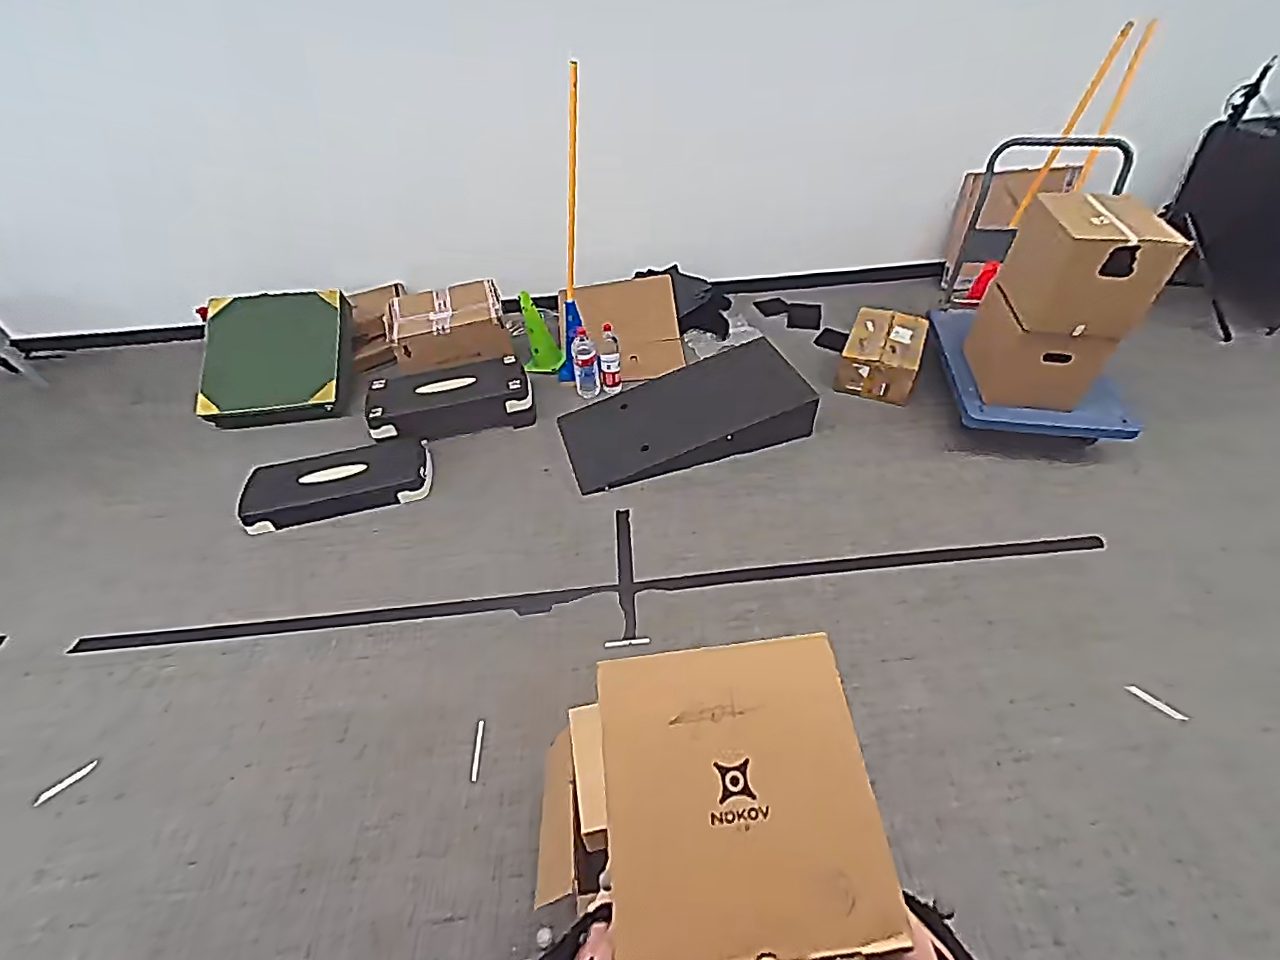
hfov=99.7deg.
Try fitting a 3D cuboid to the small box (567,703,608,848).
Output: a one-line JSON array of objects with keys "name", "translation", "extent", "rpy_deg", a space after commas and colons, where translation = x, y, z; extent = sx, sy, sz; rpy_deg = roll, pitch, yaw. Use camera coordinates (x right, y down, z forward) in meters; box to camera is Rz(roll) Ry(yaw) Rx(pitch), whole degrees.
[{"name": "small box", "translation": [-0.011, 0.451, 0.840], "extent": [0.179, 0.176, 0.168], "rpy_deg": [-8, 50, -8]}]

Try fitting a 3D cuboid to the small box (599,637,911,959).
[{"name": "small box", "translation": [0.065, 0.233, 0.403], "extent": [0.168, 0.176, 0.179], "rpy_deg": [-7, 58, -1]}]
